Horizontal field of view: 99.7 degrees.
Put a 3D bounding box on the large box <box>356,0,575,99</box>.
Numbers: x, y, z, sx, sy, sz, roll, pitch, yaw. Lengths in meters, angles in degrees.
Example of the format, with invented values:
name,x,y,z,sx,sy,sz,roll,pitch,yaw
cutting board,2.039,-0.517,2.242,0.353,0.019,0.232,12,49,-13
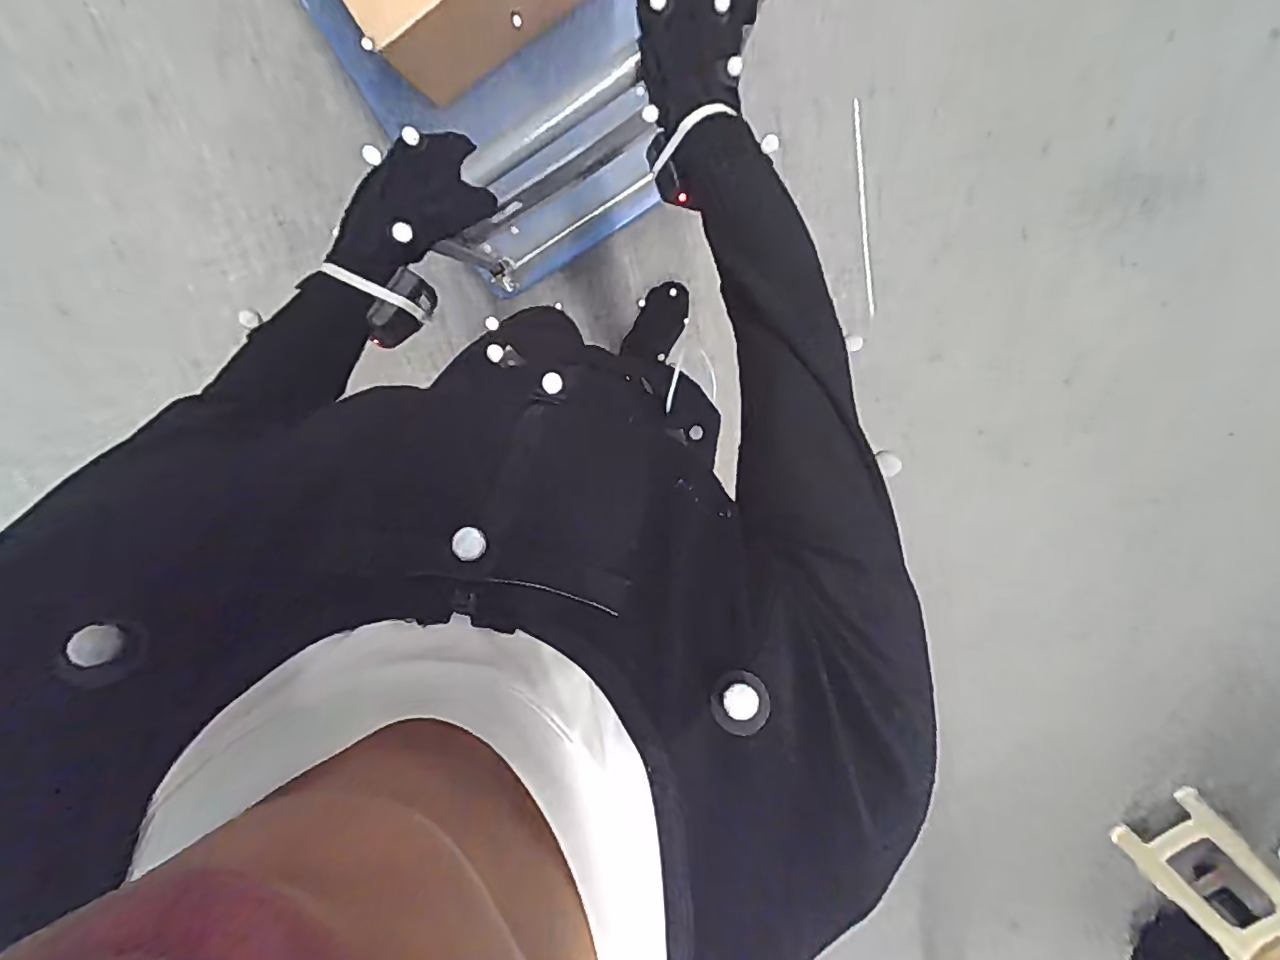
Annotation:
name,x,y,z,sx,sy,sz,roll,pitch,yaw
large box,-0.280,-0.894,0.829,0.408,0.320,0.320,-31,110,10
